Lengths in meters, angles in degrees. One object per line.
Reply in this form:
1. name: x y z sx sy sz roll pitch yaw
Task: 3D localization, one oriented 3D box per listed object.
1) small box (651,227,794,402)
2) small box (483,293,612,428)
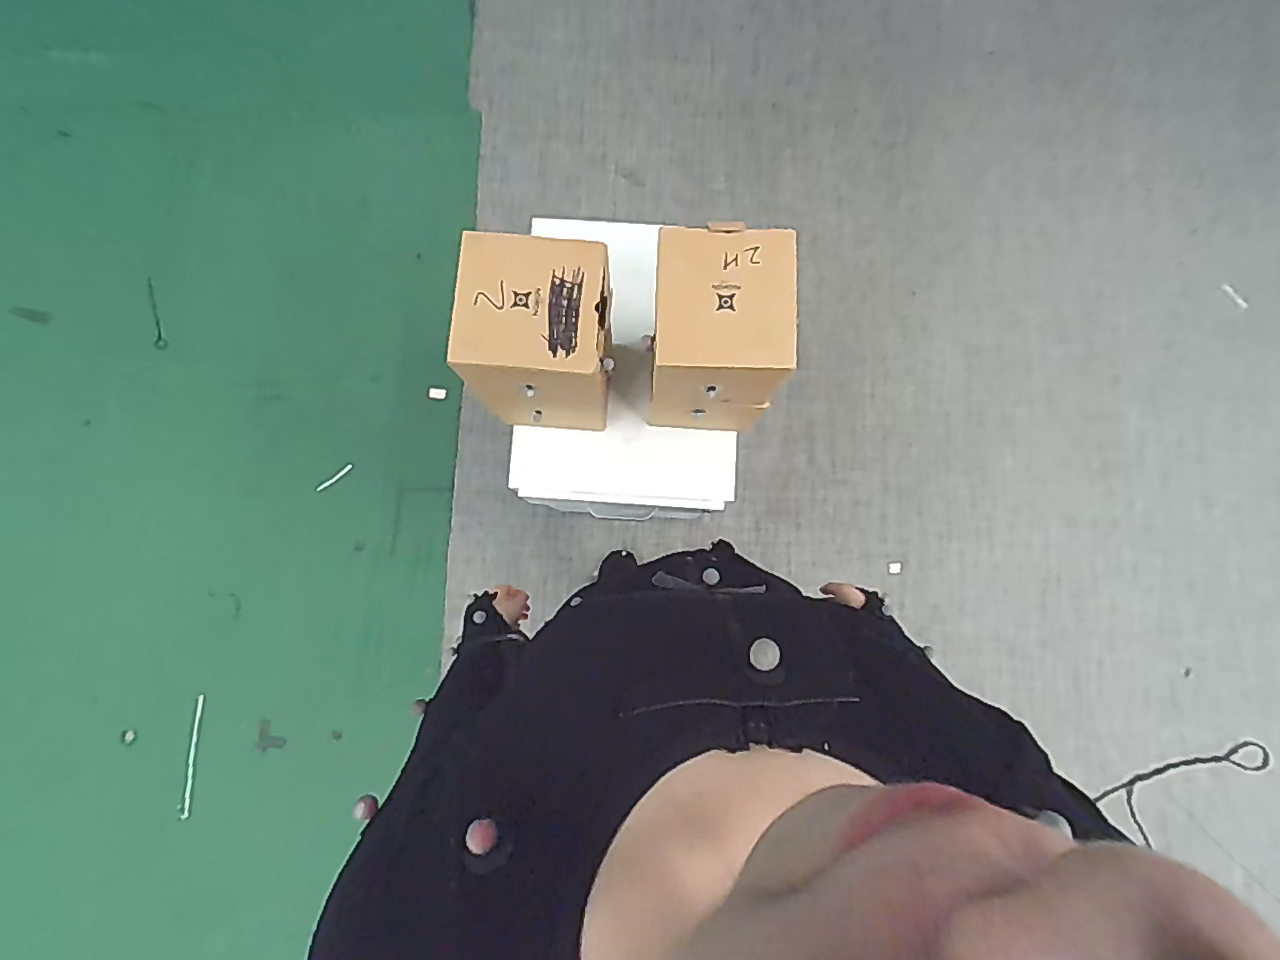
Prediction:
1. small box: 0.101 -0.208 0.722 0.168 0.176 0.179 2 83 0
2. small box: -0.141 -0.185 0.883 0.179 0.176 0.168 4 83 -2
